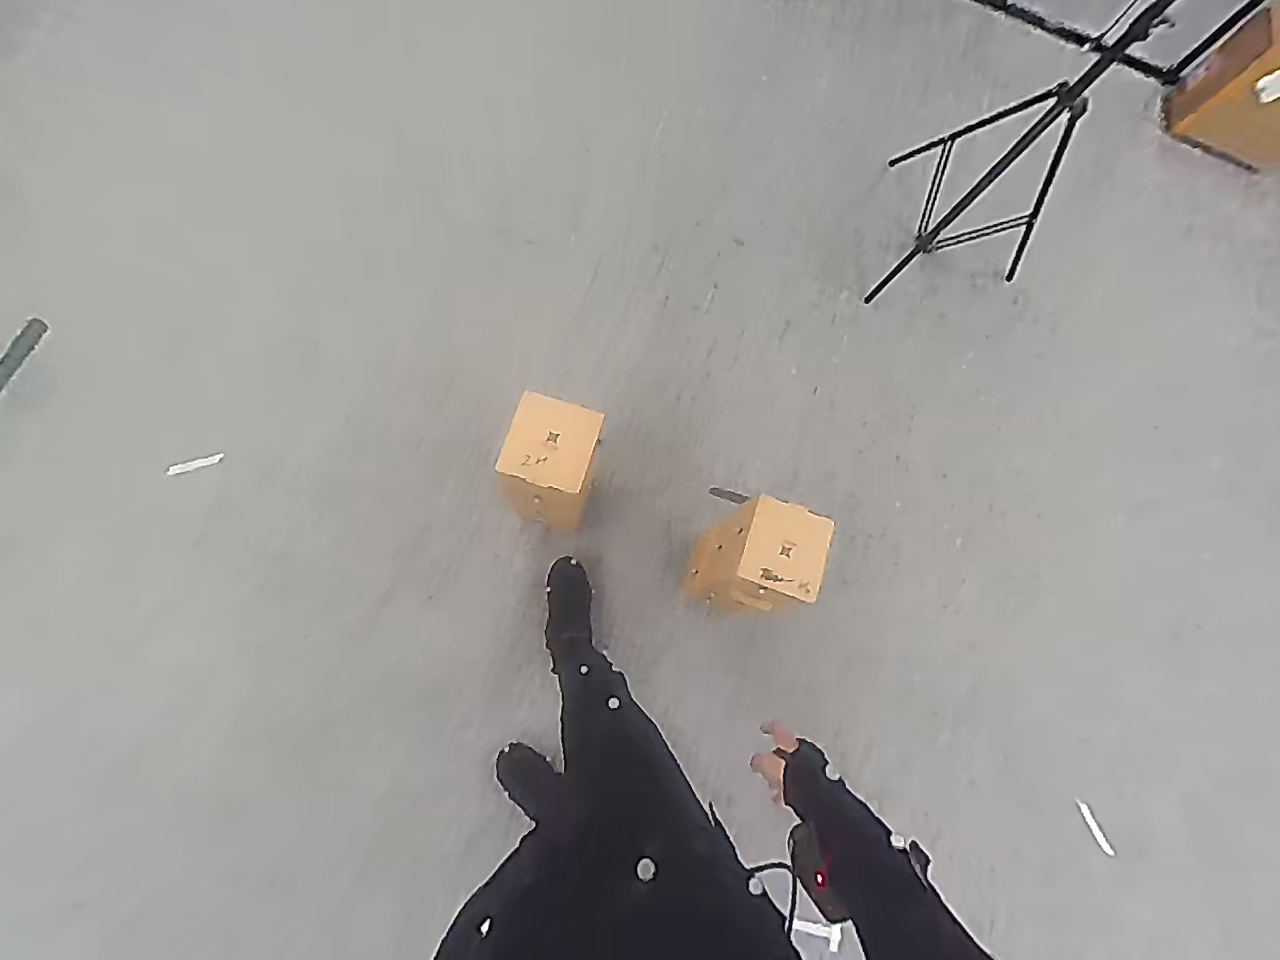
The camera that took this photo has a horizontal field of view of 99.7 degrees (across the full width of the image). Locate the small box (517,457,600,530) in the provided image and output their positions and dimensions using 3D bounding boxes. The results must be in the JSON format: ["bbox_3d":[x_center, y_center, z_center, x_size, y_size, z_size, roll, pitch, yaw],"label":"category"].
[{"bbox_3d":[-0.215,0.018,1.428,0.168,0.176,0.179,18,73,-3],"label":"small box"}]

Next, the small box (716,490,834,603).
[{"bbox_3d":[0.273,0.146,1.127,0.168,0.176,0.179,22,73,-3],"label":"small box"}]

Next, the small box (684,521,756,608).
[{"bbox_3d":[0.230,0.231,1.442,0.168,0.176,0.179,22,74,-3],"label":"small box"}]

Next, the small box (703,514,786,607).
[{"bbox_3d":[0.262,0.192,1.285,0.168,0.176,0.179,22,73,-3],"label":"small box"}]

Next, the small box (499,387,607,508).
[{"bbox_3d":[-0.176,-0.060,1.112,0.168,0.176,0.179,18,74,-2],"label":"small box"}]
